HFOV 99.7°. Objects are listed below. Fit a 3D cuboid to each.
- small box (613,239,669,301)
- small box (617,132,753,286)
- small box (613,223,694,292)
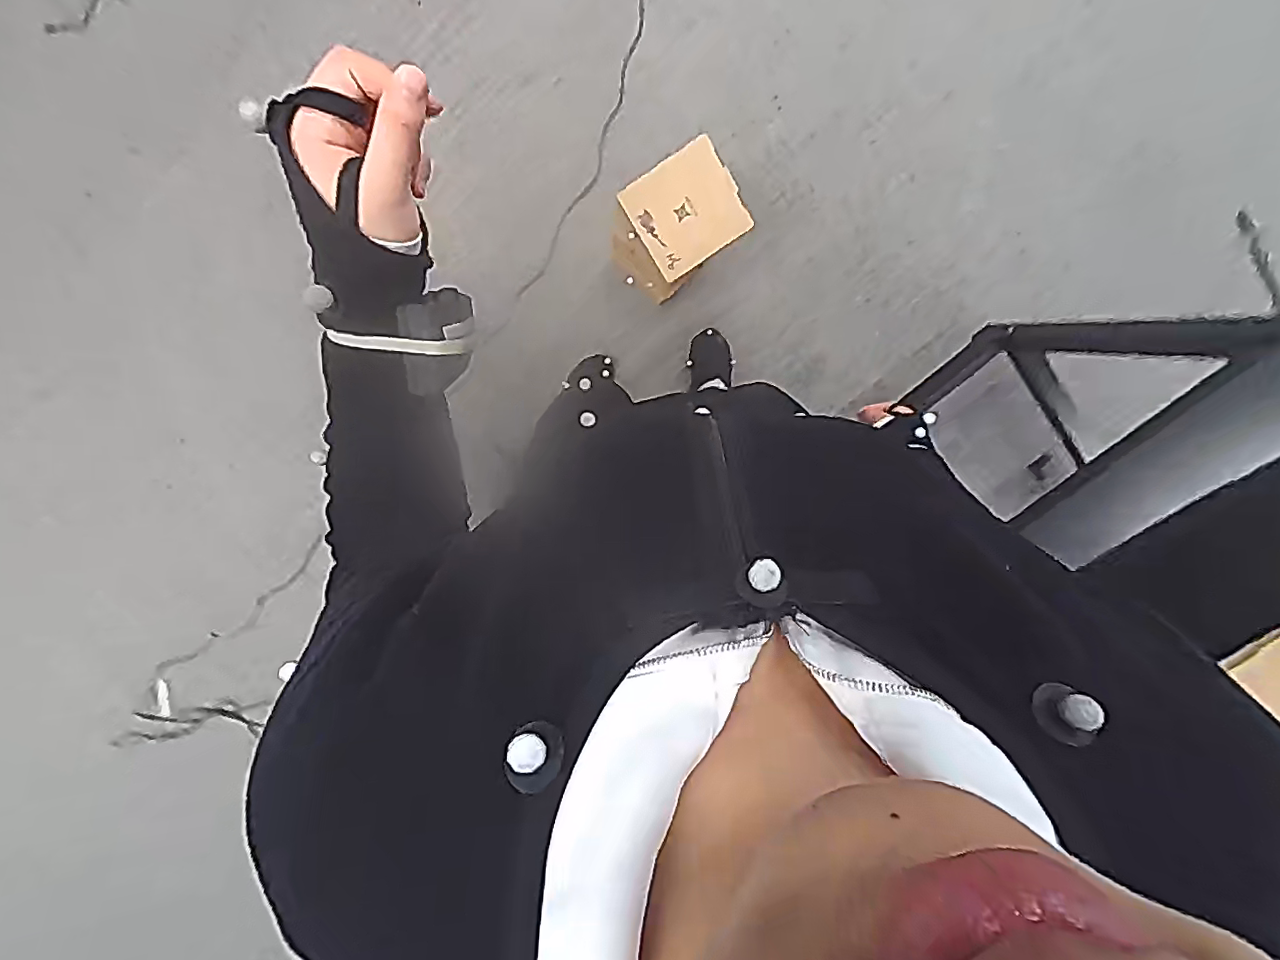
[{"bbox_3d":[0.050,-0.550,1.287,0.179,0.176,0.168,-43,102,9],"label":"small box"},{"bbox_3d":[0.070,-0.472,0.971,0.179,0.176,0.168,-33,104,5],"label":"small box"},{"bbox_3d":[0.061,-0.515,1.129,0.168,0.176,0.179,41,98,-13],"label":"small box"}]
